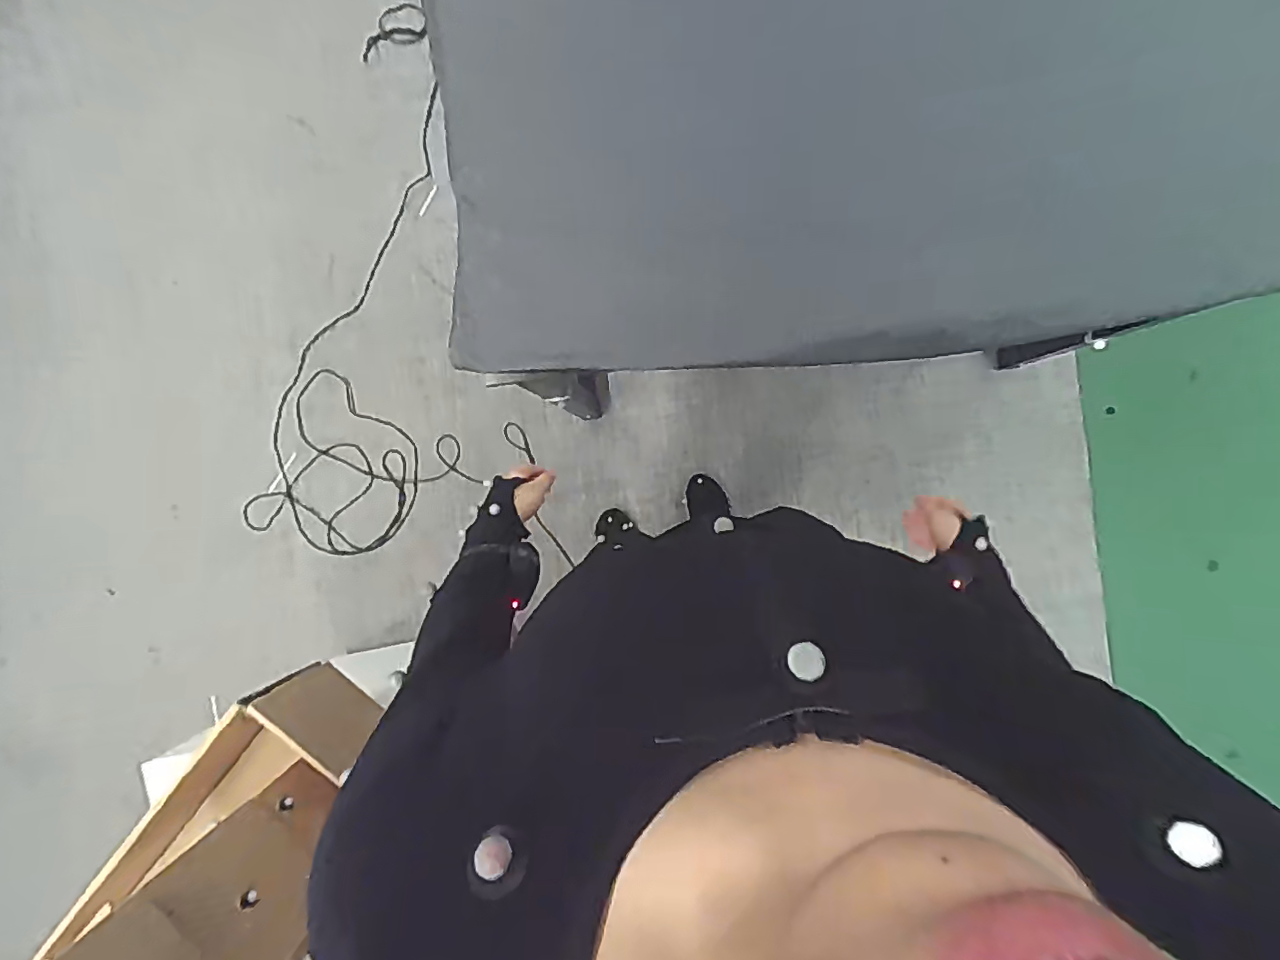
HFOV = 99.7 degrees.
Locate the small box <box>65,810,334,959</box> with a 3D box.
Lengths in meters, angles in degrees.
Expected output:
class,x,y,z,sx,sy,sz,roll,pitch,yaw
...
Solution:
class,x,y,z,sx,sy,sz,roll,pitch,yaw
small box,-0.526,0.545,0.654,0.179,0.176,0.168,42,95,0
